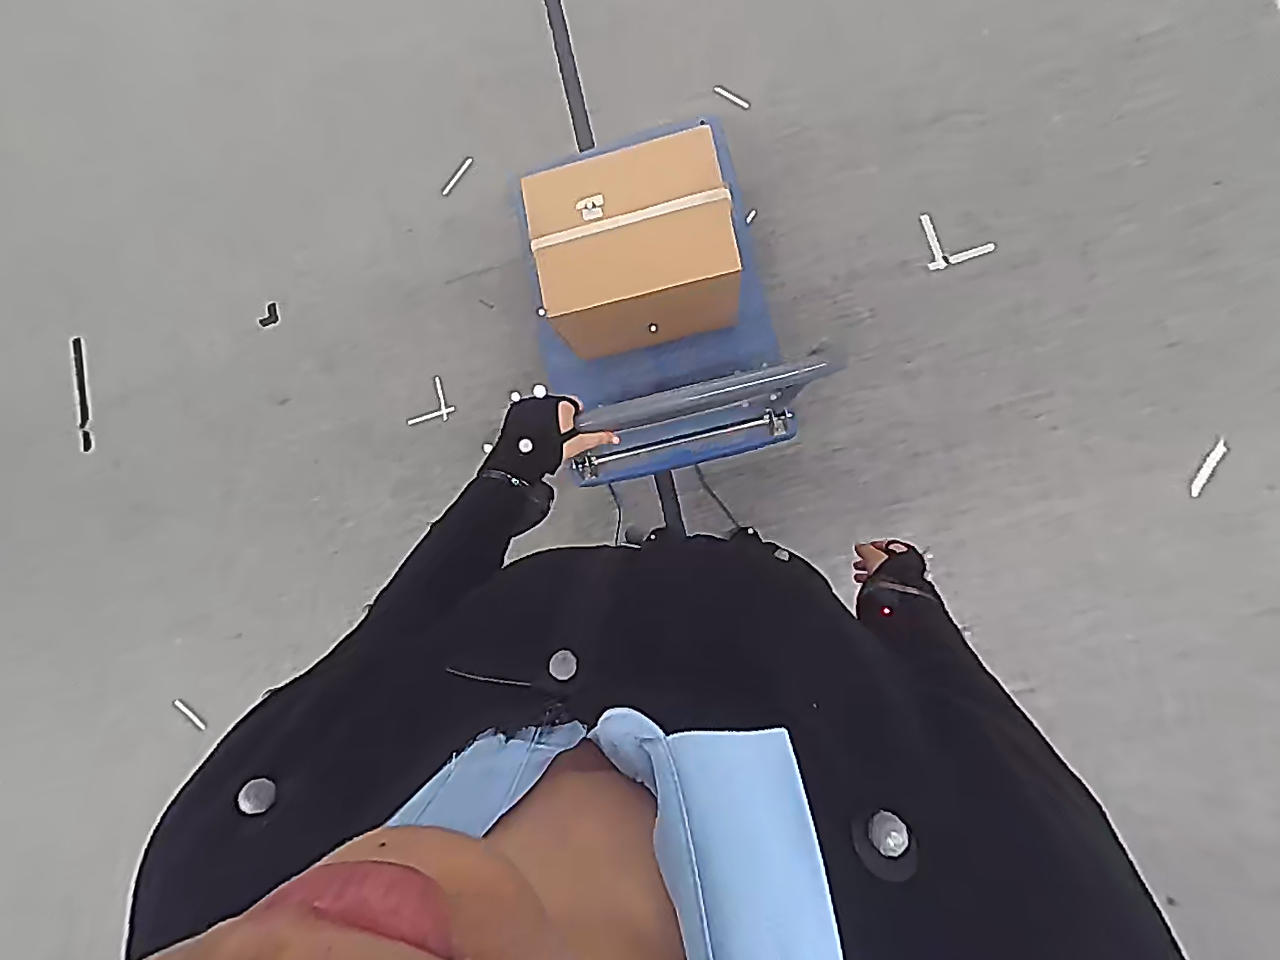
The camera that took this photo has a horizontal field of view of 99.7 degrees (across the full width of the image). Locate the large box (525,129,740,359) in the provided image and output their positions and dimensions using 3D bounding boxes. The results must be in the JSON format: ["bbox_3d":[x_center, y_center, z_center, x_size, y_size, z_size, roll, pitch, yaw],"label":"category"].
[{"bbox_3d":[0.000,-0.510,1.249,0.408,0.320,0.320,-12,83,8],"label":"large box"}]
